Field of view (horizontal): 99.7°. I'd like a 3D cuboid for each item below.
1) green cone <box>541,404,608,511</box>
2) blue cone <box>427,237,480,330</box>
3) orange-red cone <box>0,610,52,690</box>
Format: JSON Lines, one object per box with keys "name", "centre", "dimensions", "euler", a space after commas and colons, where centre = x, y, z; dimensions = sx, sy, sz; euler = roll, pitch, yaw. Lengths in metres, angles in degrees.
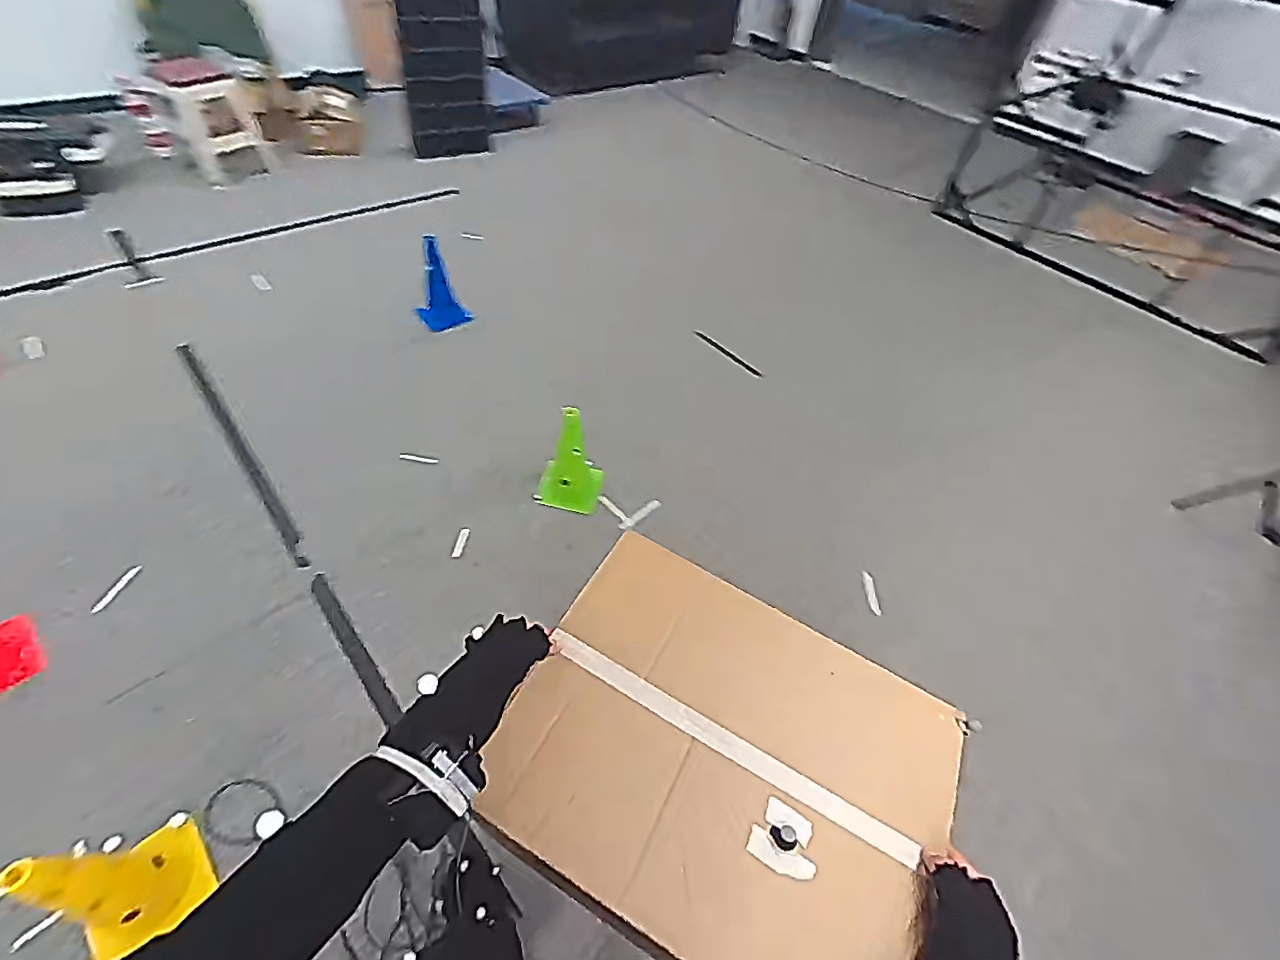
{"name": "green cone", "centre": [-0.205, -0.095, 1.750], "dimensions": [0.200, 0.368, 0.202], "euler": [13, 48, 2]}
{"name": "blue cone", "centre": [-0.829, -0.851, 2.316], "dimensions": [0.192, 0.380, 0.193], "euler": [-28, 59, -28]}
{"name": "orange-red cone", "centre": [-1.577, 0.335, 1.205], "dimensions": [0.198, 0.360, 0.199], "euler": [-34, 64, -29]}
